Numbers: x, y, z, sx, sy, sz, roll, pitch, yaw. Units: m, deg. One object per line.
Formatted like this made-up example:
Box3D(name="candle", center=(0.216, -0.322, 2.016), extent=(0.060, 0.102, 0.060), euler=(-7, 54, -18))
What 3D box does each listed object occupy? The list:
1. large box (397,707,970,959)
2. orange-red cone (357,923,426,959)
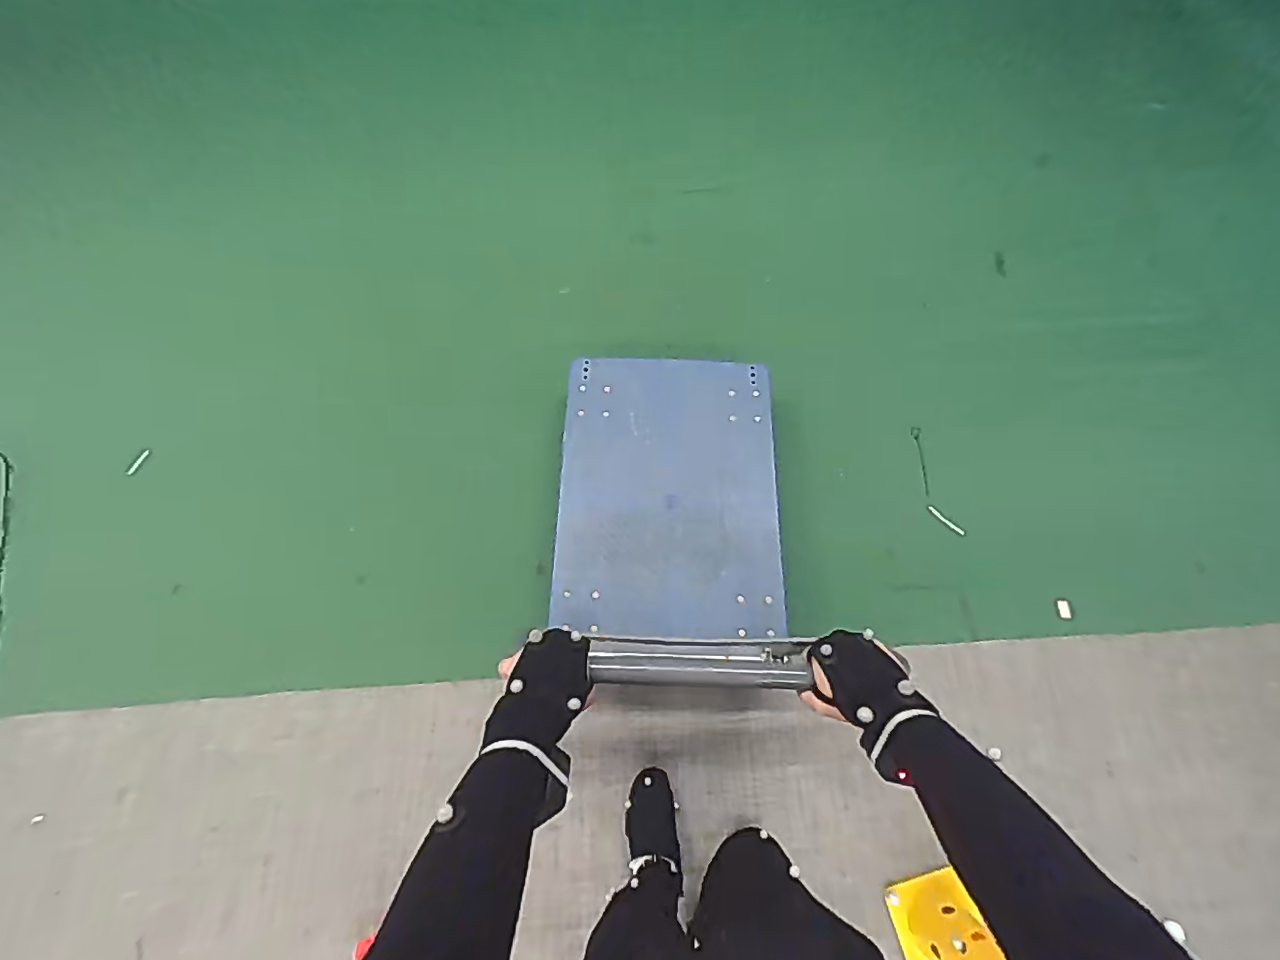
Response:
Box3D(name="large box", center=(0.038, 0.345, 0.106), extent=(0.408, 0.320, 0.320), euler=(34, 103, 4))
Box3D(name="orange-red cone", center=(-0.501, 1.025, 1.004), extent=(0.199, 0.360, 0.198), euler=(-18, 69, -6))
